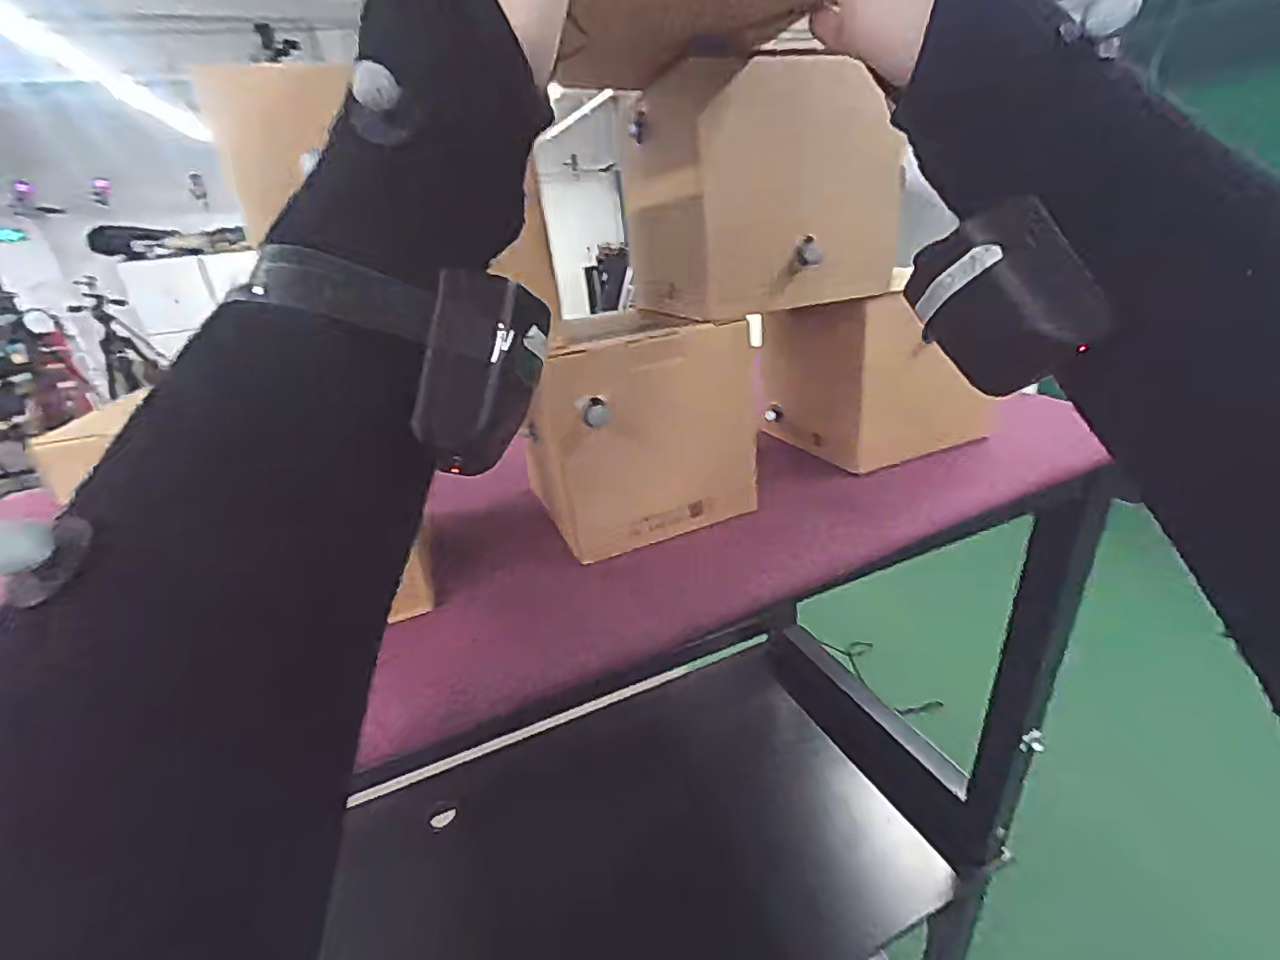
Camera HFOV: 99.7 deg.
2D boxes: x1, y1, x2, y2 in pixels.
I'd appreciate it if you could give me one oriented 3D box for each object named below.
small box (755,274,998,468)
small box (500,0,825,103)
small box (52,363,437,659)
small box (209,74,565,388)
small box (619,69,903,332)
[{"bbox_3d":[0.245,-0.125,0.591,0.179,0.176,0.168,-15,26,-18],"label":"small box"},{"bbox_3d":[0.002,-0.348,0.325,0.168,0.176,0.179,-10,23,-16],"label":"small box"},{"bbox_3d":[-0.259,0.012,0.413,0.168,0.176,0.179,-13,25,-17],"label":"small box"},{"bbox_3d":[-0.164,-0.170,0.399,0.168,0.176,0.179,-16,26,-18],"label":"small box"},{"bbox_3d":[0.094,-0.236,0.476,0.179,0.176,0.168,-14,25,-17],"label":"small box"}]
